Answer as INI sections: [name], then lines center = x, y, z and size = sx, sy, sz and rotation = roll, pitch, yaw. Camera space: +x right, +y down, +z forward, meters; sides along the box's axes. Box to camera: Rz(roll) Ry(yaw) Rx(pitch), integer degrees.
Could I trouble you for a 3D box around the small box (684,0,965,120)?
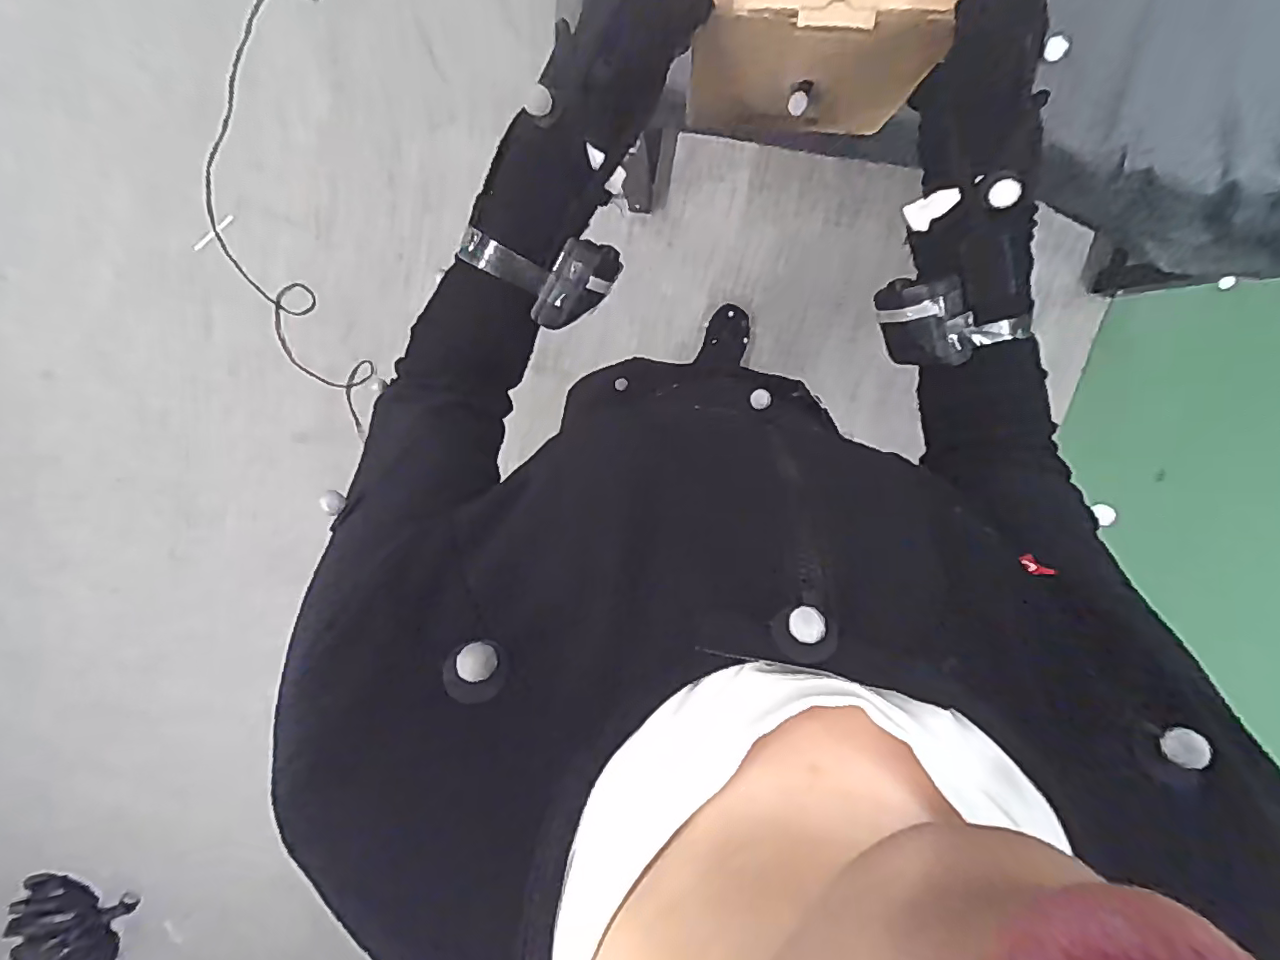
[small box]
center = 0.119, -0.378, 0.376
size = 0.168, 0.176, 0.179
rotation = 4, 104, 3
